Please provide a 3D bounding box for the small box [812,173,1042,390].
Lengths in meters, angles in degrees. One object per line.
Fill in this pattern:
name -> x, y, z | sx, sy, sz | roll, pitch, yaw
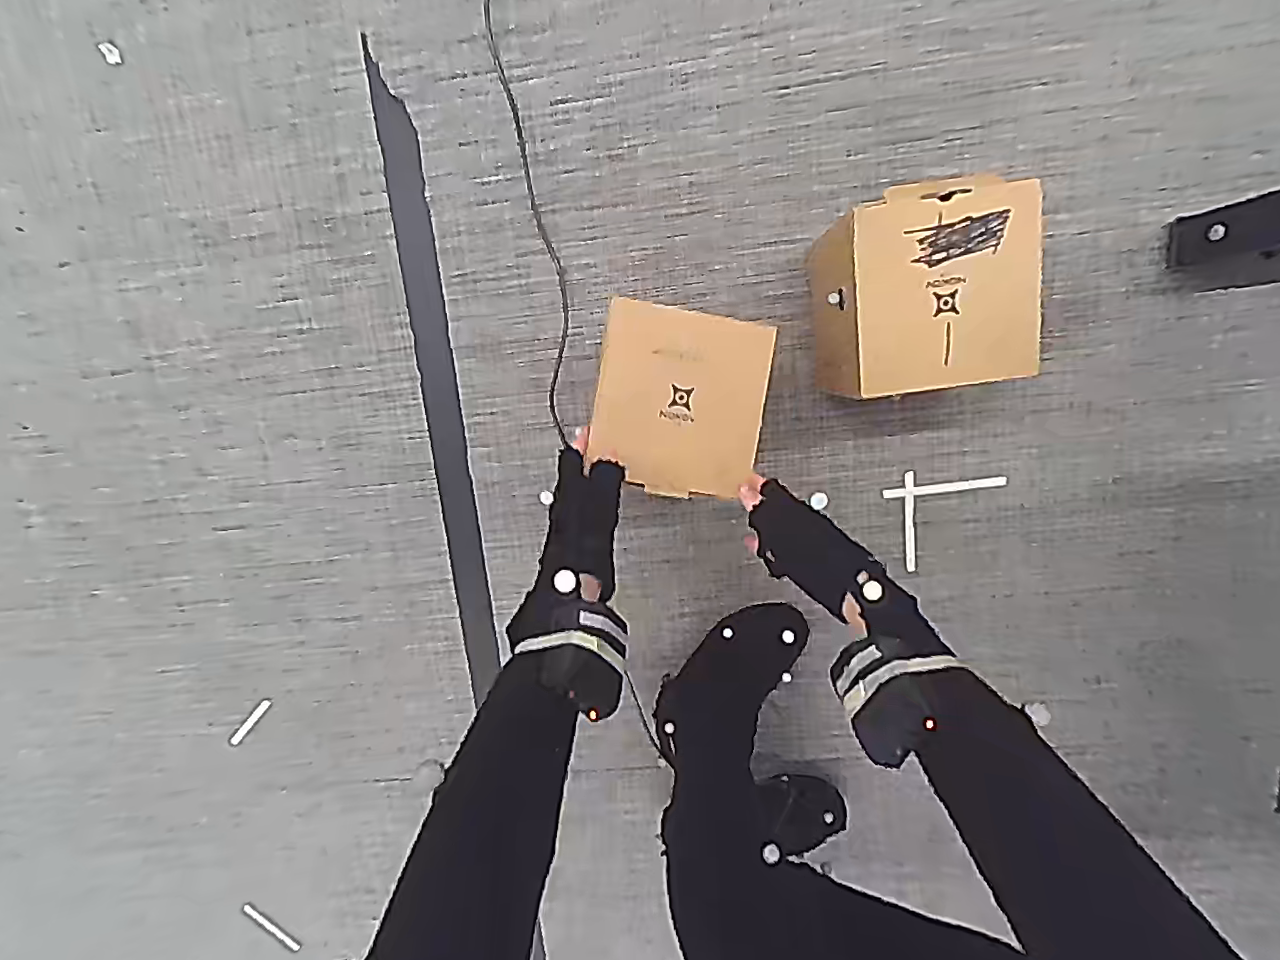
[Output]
small box -> 0.288, -0.194, 0.577 | 0.168, 0.176, 0.179 | -7, 101, 5

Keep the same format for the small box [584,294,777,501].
small box -> 0.031, -0.079, 0.595 | 0.168, 0.176, 0.179 | 9, 90, -8
